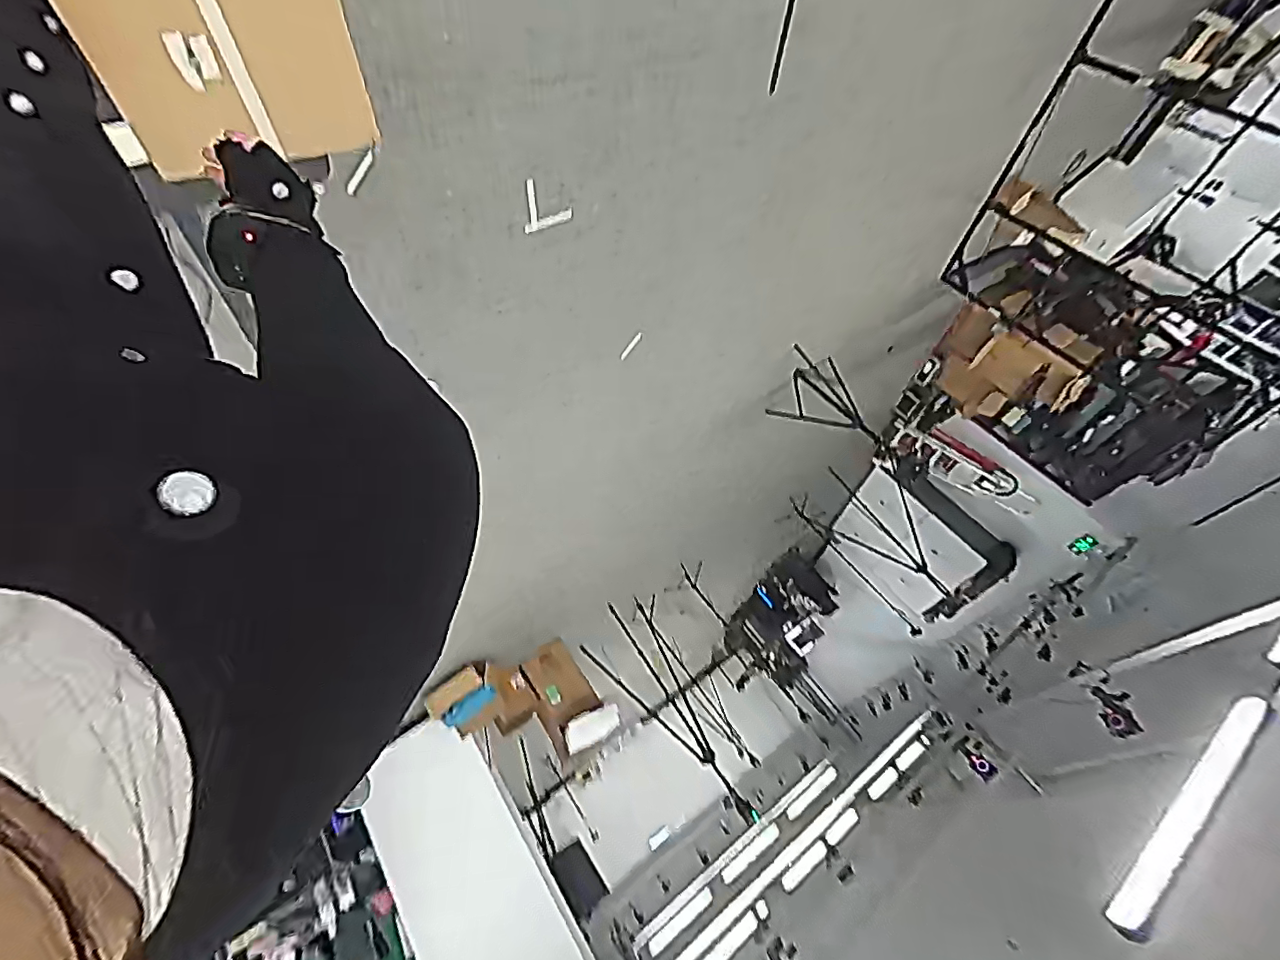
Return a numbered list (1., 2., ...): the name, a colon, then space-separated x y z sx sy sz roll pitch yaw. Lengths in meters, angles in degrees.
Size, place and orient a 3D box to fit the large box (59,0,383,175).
1. large box: -0.617 -0.723 0.745 0.320 0.320 0.408 -23 151 -19
